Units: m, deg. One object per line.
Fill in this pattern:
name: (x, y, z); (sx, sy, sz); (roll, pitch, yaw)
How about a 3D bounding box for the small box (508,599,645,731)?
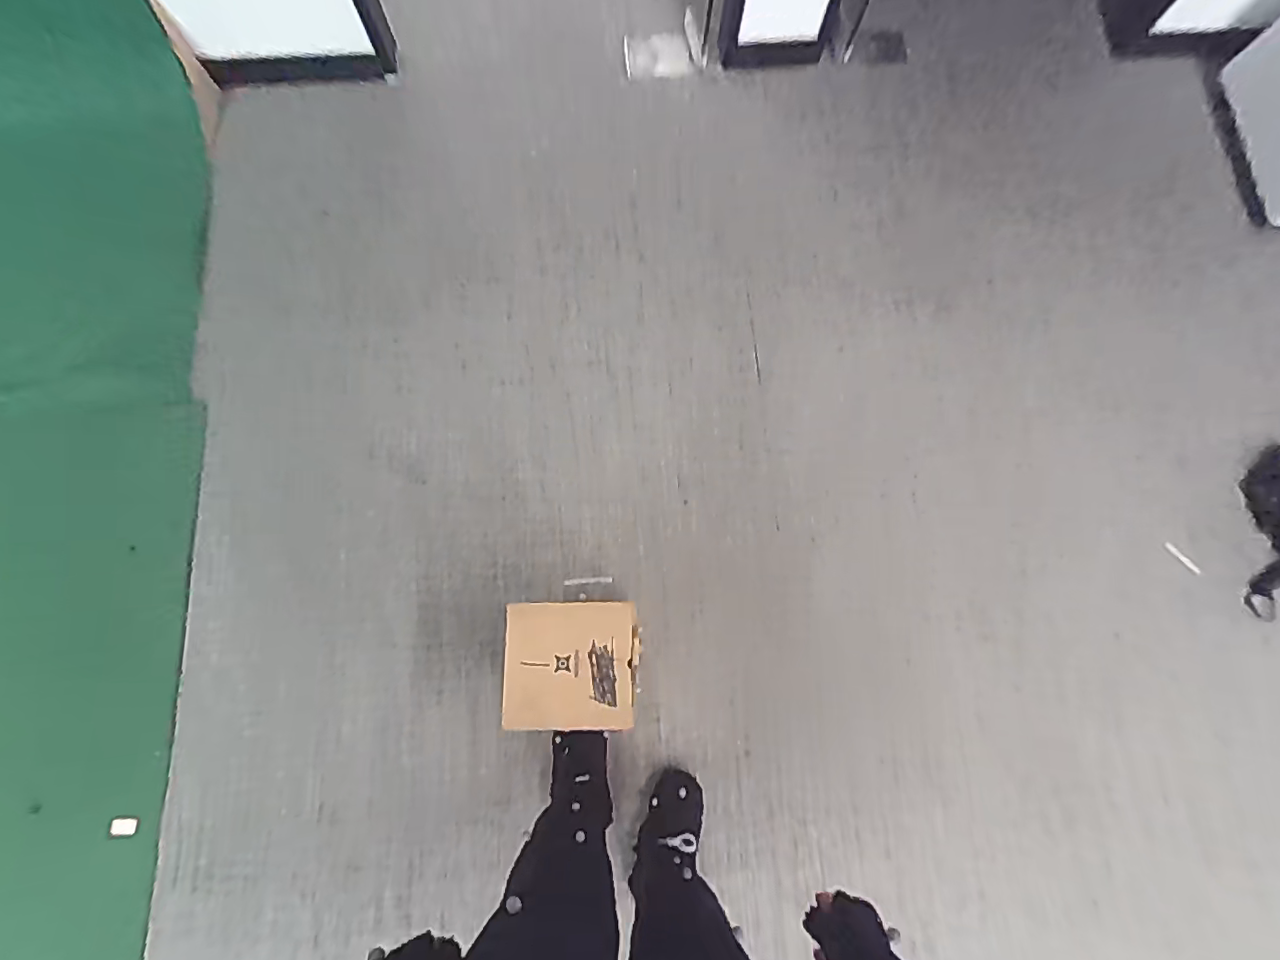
small box: (-0.086, 0.268, 0.810); (0.179, 0.176, 0.168); (3, 74, 0)
